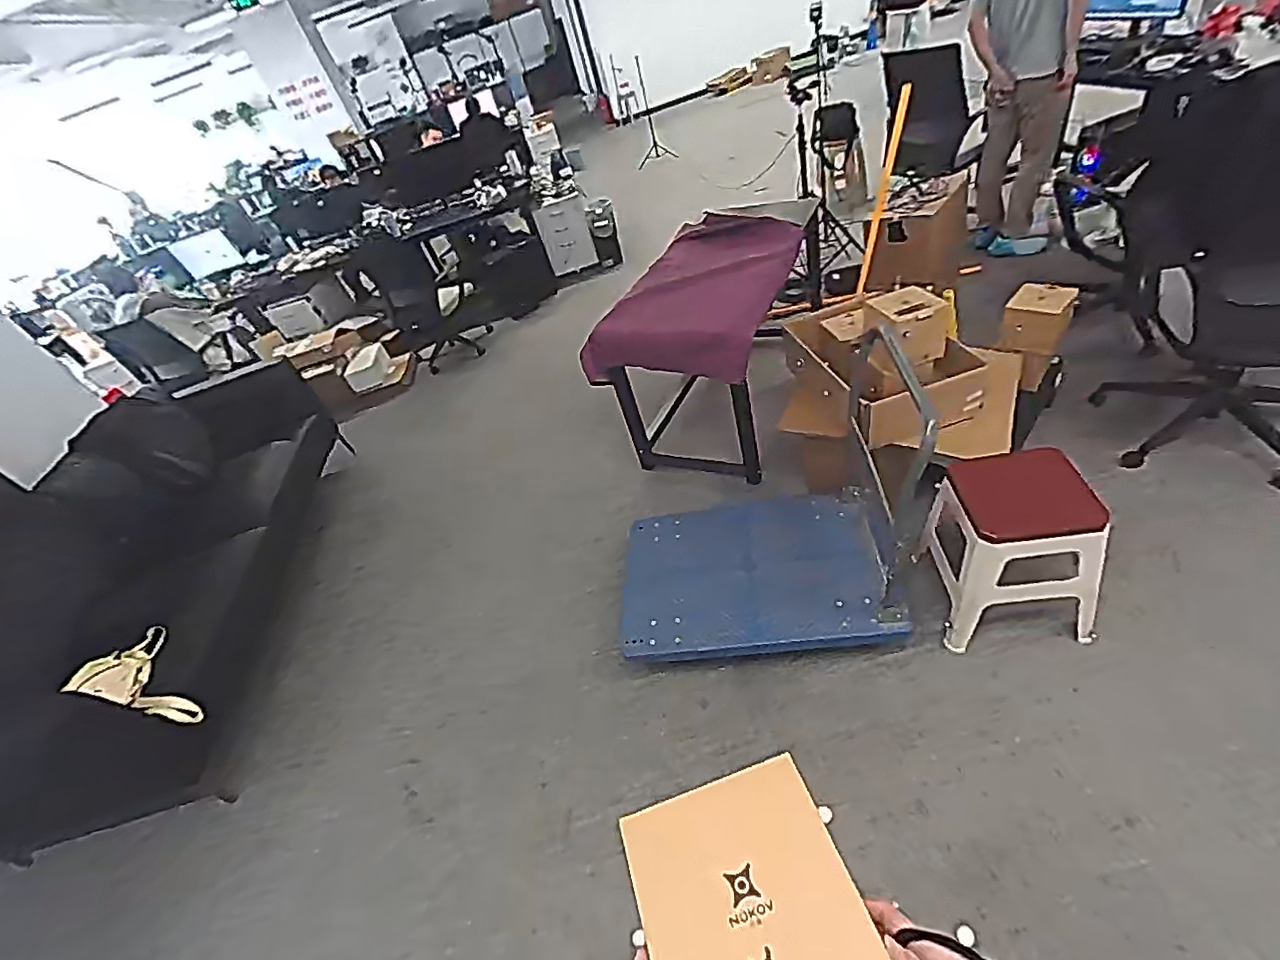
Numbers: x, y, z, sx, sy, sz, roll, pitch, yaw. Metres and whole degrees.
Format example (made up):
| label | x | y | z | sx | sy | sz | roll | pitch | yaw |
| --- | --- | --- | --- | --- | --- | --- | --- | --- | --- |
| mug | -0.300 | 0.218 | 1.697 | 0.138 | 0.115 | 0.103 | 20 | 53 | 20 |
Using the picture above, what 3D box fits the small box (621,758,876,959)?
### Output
| label | x | y | z | sx | sy | sz | roll | pitch | yaw |
| --- | --- | --- | --- | --- | --- | --- | --- | --- | --- |
| small box | 0.091 | 0.390 | 0.480 | 0.168 | 0.176 | 0.179 | -17 | 41 | -4 |
